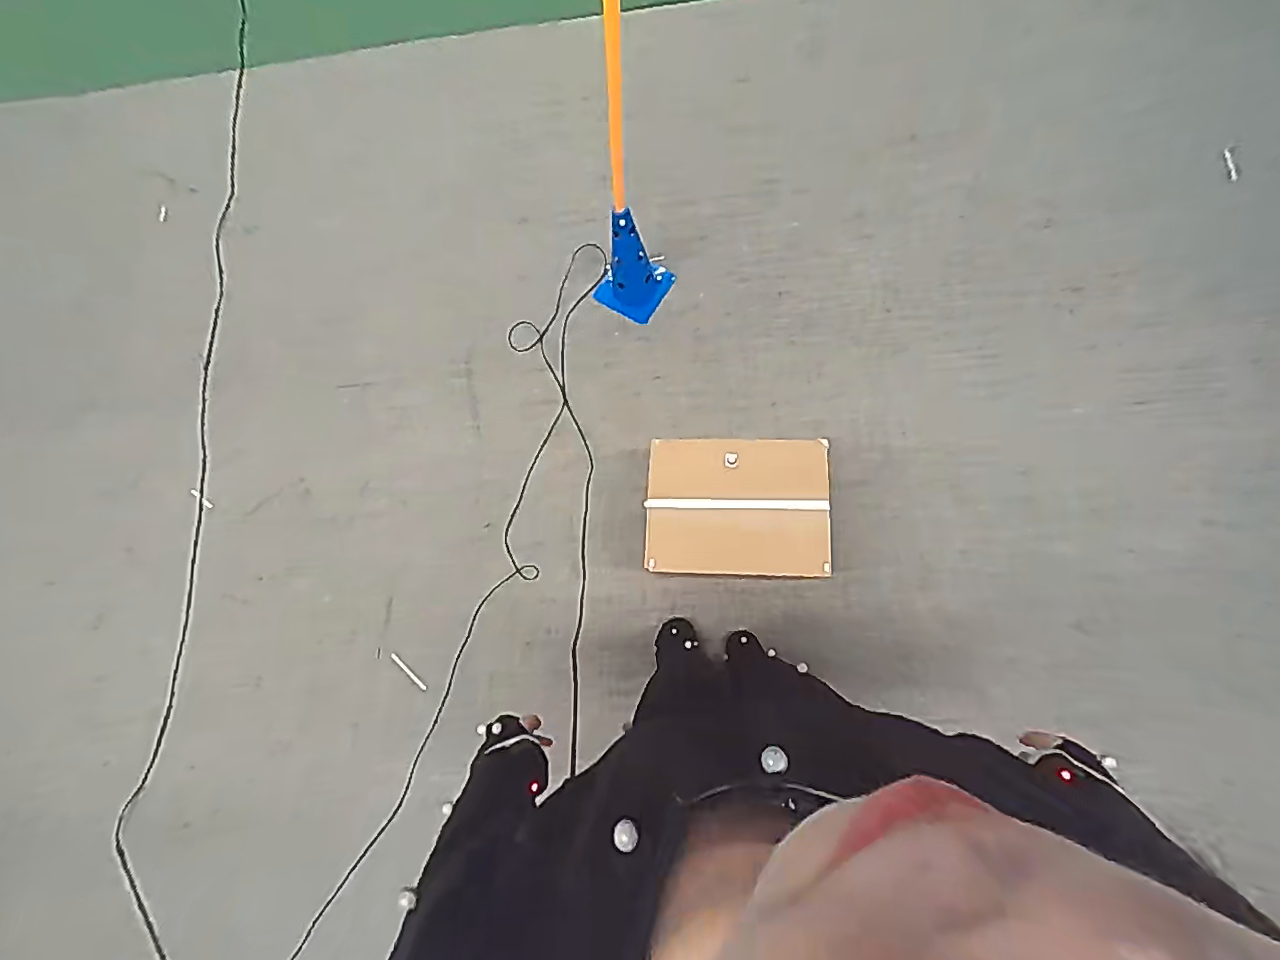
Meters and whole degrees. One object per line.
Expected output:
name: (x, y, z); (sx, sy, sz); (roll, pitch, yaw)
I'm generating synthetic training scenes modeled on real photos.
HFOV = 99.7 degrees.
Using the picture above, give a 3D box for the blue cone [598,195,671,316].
blue cone: (-0.032, -0.646, 1.503); (0.192, 0.380, 0.193); (29, 81, 10)
